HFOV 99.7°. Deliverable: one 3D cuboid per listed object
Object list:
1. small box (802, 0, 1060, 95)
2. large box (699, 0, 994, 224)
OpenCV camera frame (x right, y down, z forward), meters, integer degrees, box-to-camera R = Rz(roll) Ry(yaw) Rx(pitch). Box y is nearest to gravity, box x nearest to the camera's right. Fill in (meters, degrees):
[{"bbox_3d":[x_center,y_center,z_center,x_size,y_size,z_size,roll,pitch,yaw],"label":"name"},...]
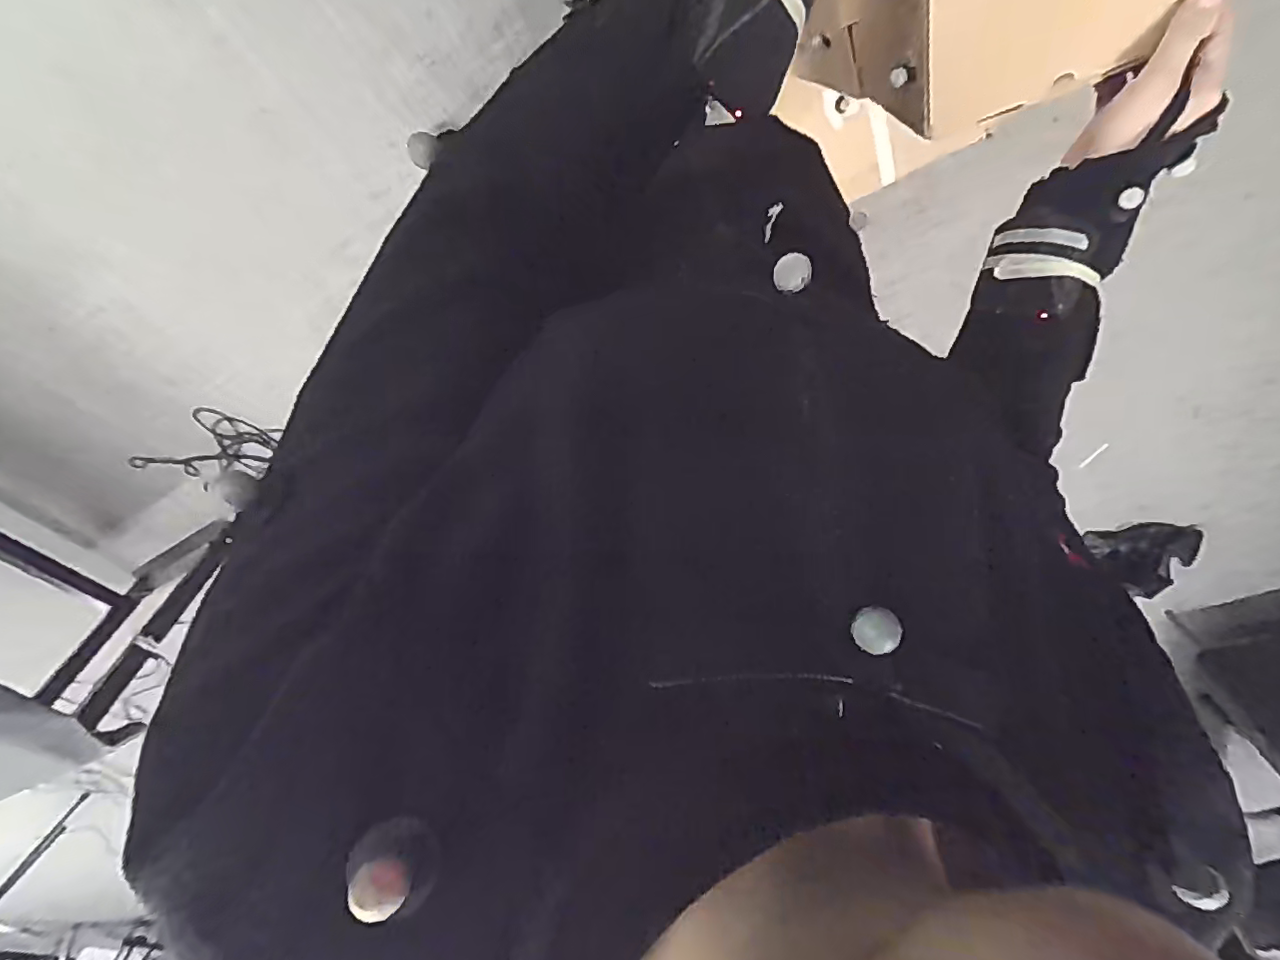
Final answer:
[{"bbox_3d":[0.243,-0.484,0.485,0.179,0.176,0.168,-19,130,14],"label":"small box"},{"bbox_3d":[0.294,-0.699,0.837,0.320,0.320,0.408,-20,129,17],"label":"large box"}]
